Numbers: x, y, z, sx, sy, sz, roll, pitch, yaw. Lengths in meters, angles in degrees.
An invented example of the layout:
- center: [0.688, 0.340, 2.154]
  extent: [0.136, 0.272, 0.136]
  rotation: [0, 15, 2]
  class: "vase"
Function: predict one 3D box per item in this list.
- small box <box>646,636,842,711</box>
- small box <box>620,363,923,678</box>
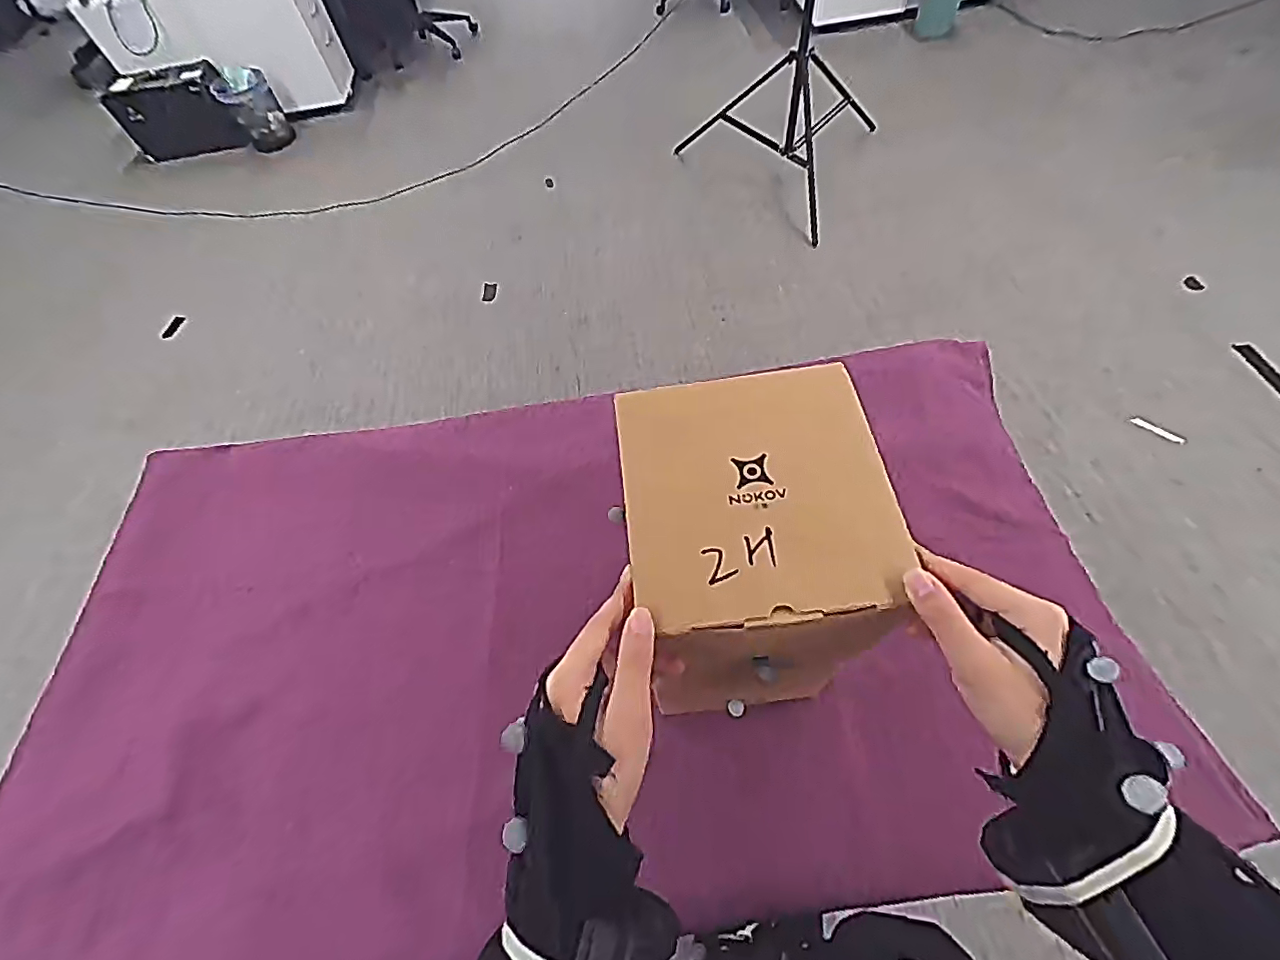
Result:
- center: [0.089, 0.126, 0.561]
  extent: [0.168, 0.176, 0.179]
  rotation: [-7, 58, 2]
  class: "small box"
- center: [0.079, 0.039, 0.415]
  extent: [0.168, 0.176, 0.179]
  rotation: [-7, 59, 3]
  class: "small box"
